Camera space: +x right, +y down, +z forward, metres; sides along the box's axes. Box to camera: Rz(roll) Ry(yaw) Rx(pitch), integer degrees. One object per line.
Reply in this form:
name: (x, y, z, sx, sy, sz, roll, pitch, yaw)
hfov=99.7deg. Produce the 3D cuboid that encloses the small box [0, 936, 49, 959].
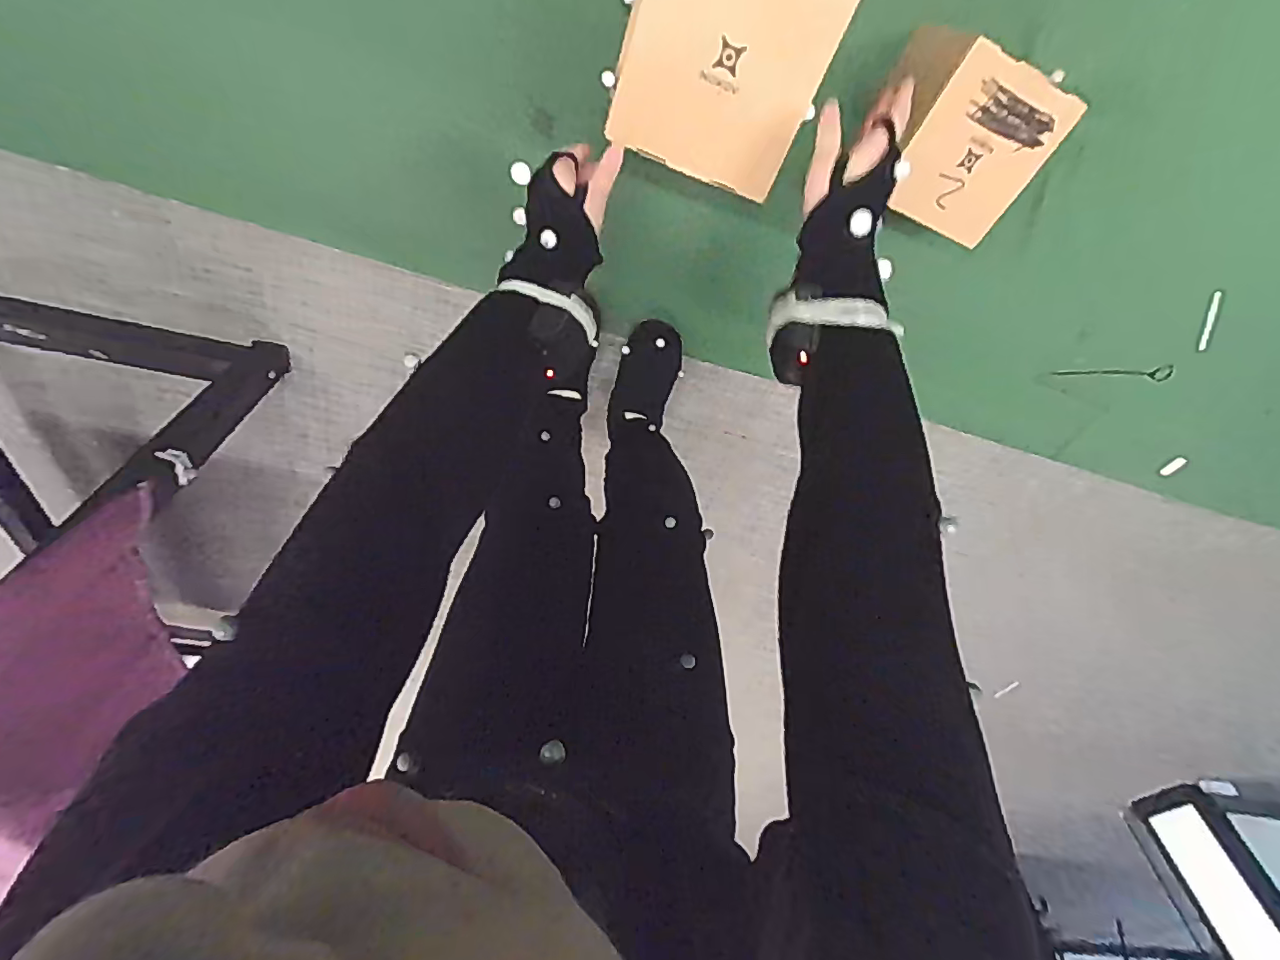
small box: (-1.312, 0.985, 1.024, 0.179, 0.176, 0.168, 11, 131, -10)

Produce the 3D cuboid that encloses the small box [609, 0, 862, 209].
small box: (0.075, -0.401, 0.521, 0.168, 0.176, 0.179, 16, 131, -12)
